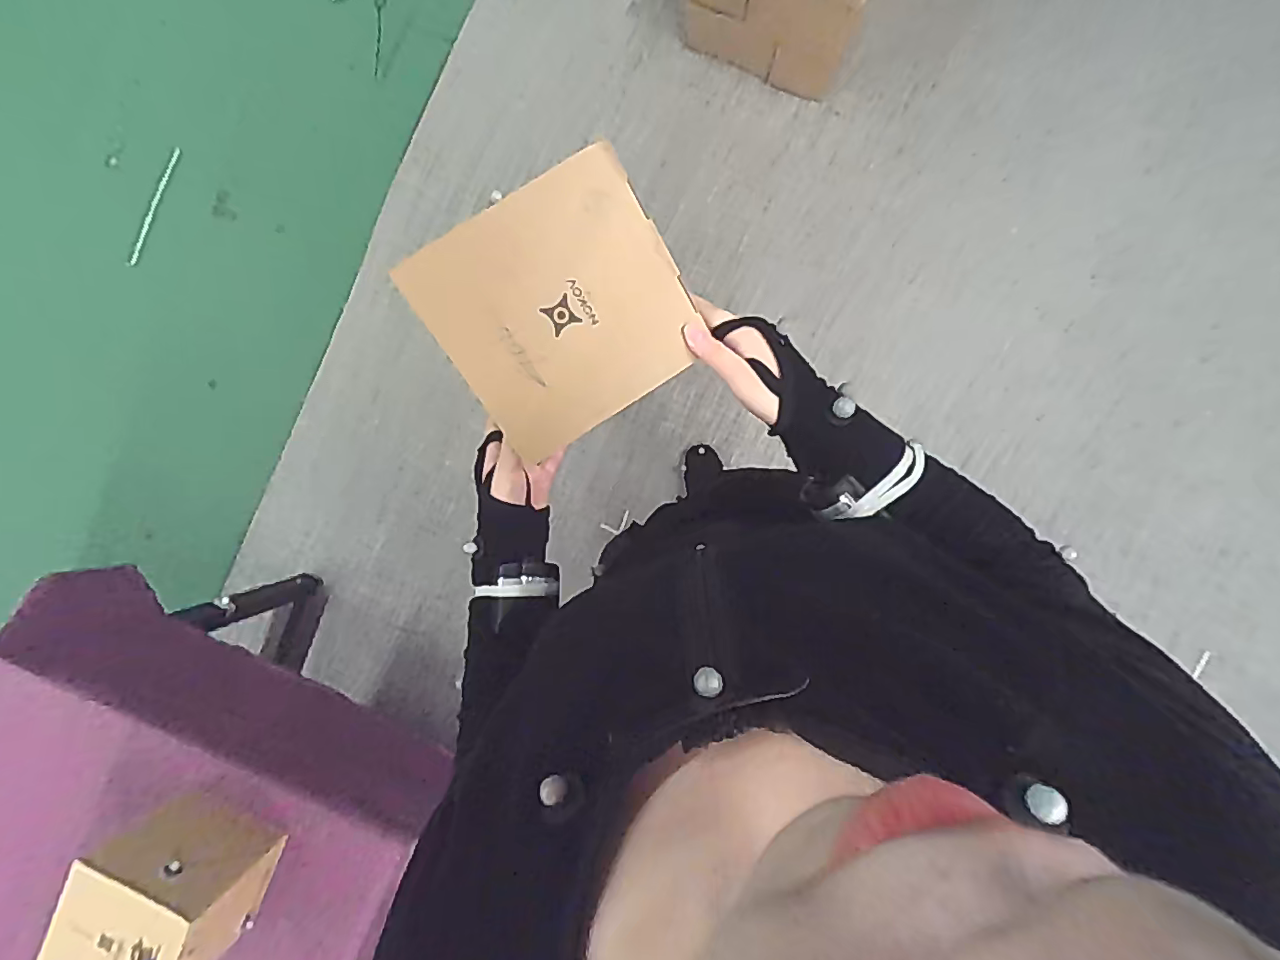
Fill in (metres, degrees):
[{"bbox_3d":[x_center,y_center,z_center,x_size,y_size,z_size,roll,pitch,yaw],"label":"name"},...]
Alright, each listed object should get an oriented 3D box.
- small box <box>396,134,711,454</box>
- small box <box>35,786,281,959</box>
[{"bbox_3d":[-0.071,-0.150,0.465,0.179,0.176,0.168,-32,109,-2],"label":"small box"},{"bbox_3d":[-0.658,0.576,0.761,0.179,0.176,0.168,24,94,4],"label":"small box"}]
